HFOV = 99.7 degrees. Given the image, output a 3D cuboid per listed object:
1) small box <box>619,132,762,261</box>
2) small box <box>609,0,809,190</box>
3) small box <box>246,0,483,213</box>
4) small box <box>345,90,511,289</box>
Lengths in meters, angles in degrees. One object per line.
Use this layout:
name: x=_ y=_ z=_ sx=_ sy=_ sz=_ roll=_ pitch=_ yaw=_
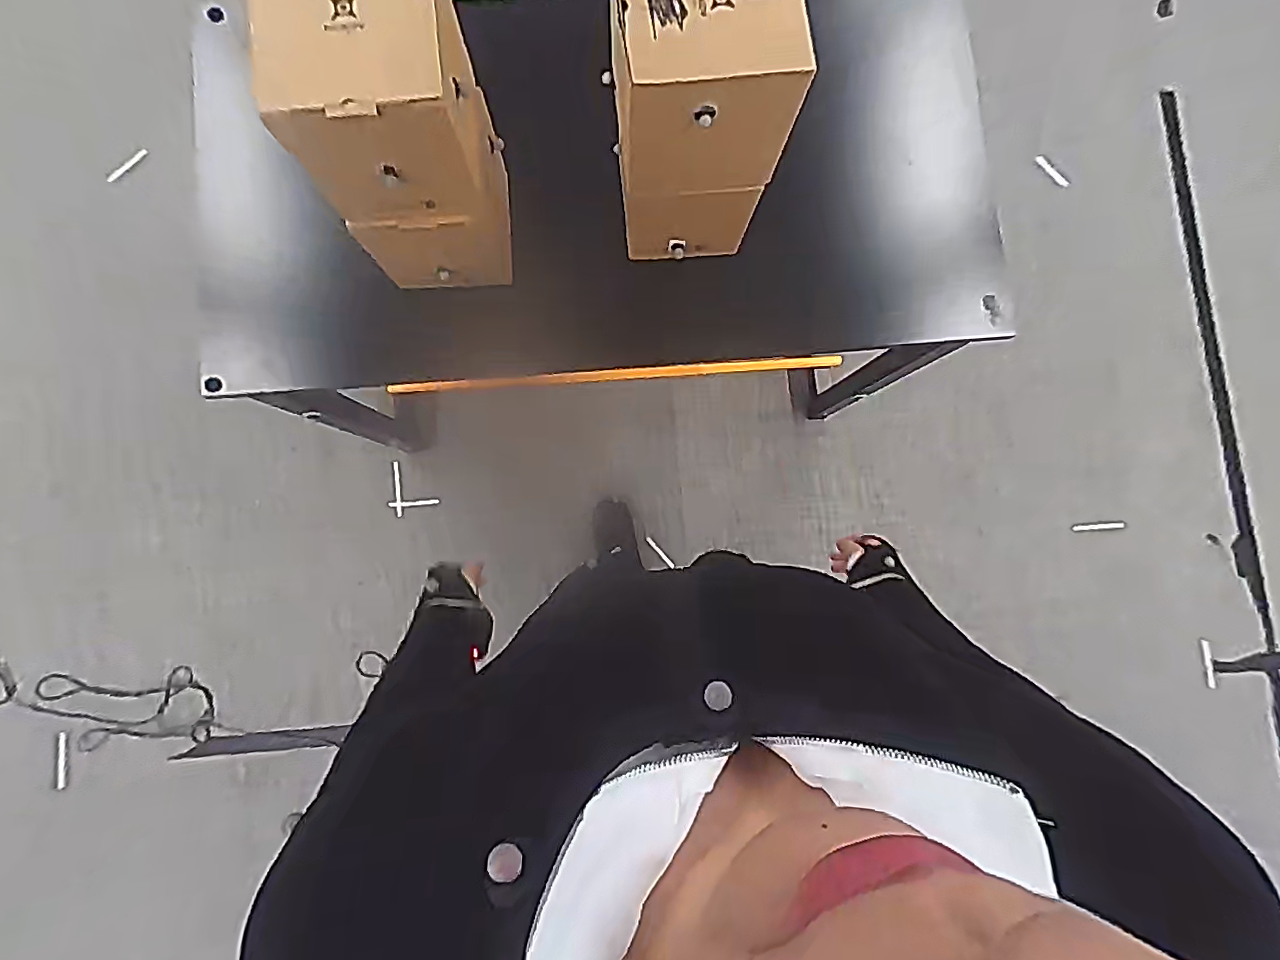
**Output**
small box: x=0.059 y=-0.430 z=0.748 sx=0.168 sy=0.176 sz=0.179 roll=-6 pitch=86 yaw=-2
small box: x=0.061 y=-0.441 z=0.584 sx=0.179 sy=0.176 sz=0.168 roll=-7 pitch=85 yaw=-3
small box: x=-0.270 y=-0.403 z=0.565 sx=0.168 sy=0.176 sz=0.179 roll=-6 pitch=86 yaw=-3
small box: x=-0.274 y=-0.379 z=0.727 sx=0.168 sy=0.176 sz=0.179 roll=-4 pitch=85 yaw=-2
